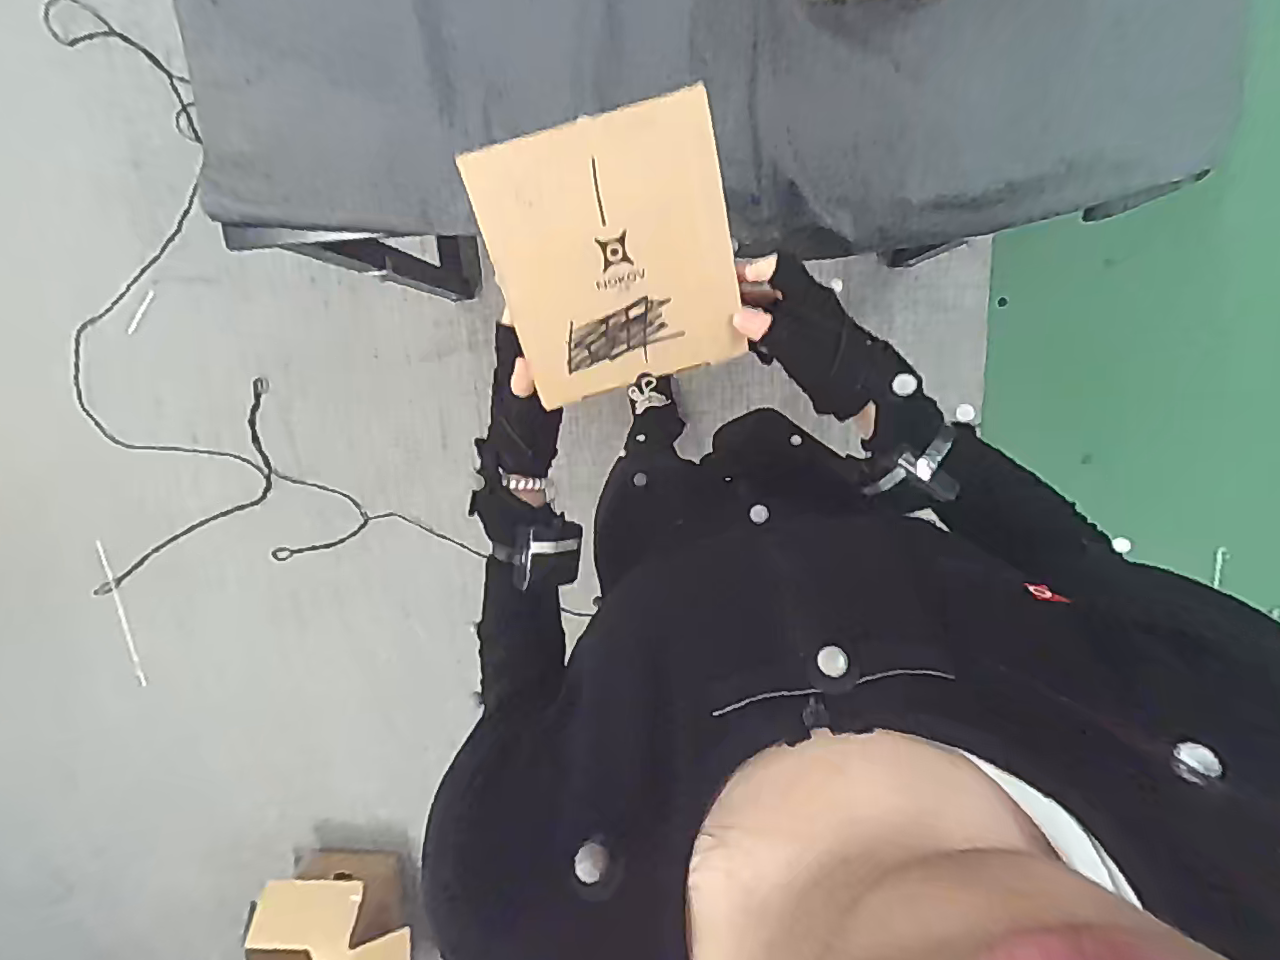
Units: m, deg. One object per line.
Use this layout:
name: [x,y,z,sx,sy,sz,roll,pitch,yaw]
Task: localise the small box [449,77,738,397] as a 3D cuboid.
small box: [-0.029,-0.192,0.445,0.168,0.176,0.179,-15,116,2]
